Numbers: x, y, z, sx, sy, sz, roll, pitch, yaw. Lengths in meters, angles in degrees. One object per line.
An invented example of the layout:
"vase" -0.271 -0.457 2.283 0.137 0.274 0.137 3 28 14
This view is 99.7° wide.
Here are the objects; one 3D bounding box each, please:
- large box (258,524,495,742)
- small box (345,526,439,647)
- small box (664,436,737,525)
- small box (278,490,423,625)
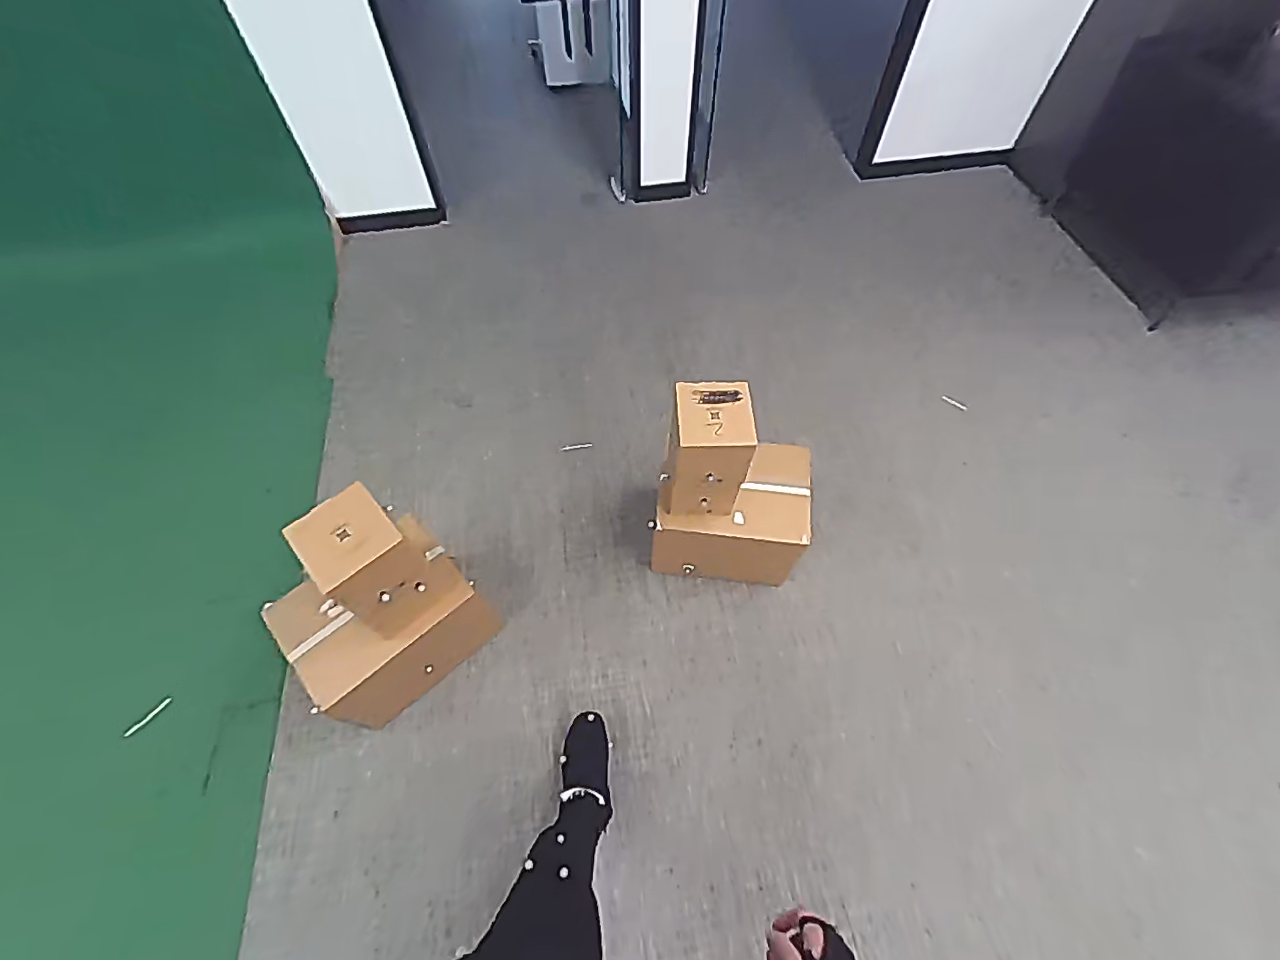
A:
"large box" -0.655 0.399 1.410 0.408 0.320 0.320 -38 64 -22
"small box" -0.577 0.243 1.219 0.179 0.176 0.168 -39 66 -22
"small box" 0.149 0.006 1.388 0.168 0.176 0.179 1 58 -1
"small box" -0.568 0.159 1.080 0.168 0.176 0.179 -37 66 -21
